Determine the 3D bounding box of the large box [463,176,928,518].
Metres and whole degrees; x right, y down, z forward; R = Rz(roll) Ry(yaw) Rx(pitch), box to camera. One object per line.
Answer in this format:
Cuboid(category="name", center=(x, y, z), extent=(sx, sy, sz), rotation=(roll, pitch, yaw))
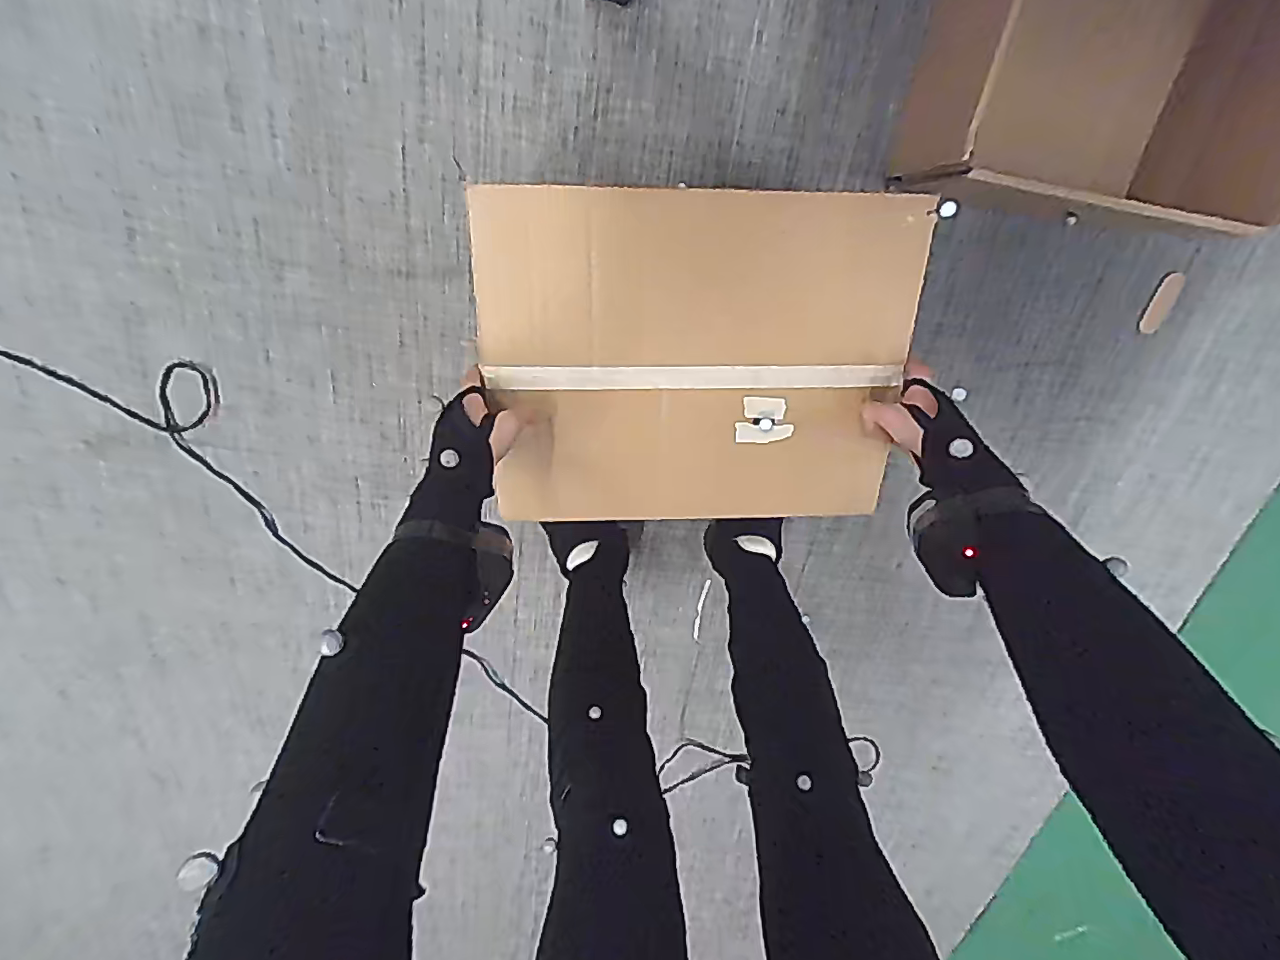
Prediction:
Cuboid(category="large box", center=(0.039, -0.165, 0.646), extent=(0.408, 0.320, 0.320), rotation=(-1, 114, -5))
